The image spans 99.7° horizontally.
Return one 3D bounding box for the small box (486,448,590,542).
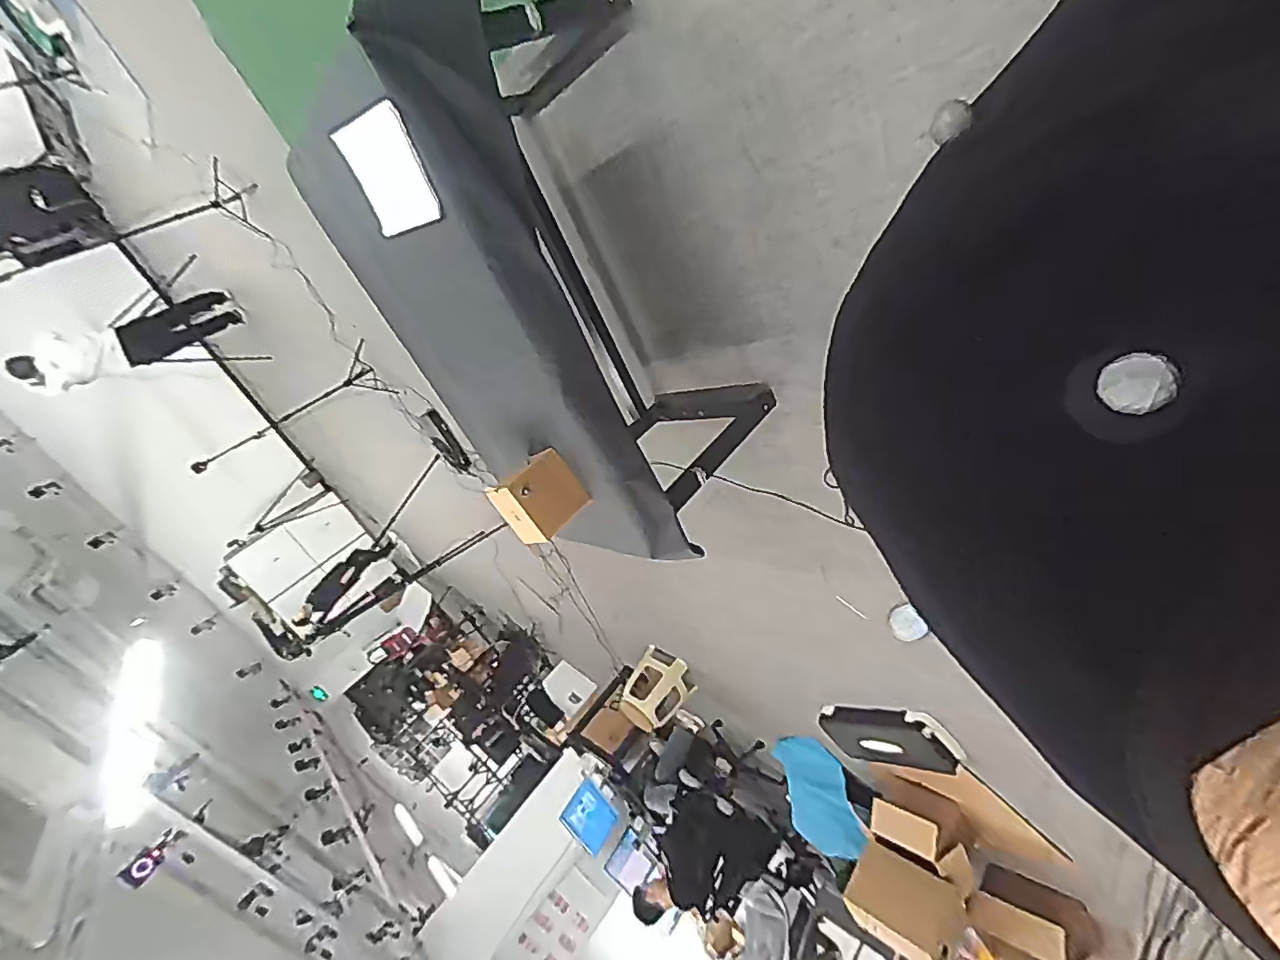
[{"bbox_3d":[-0.262,0.042,1.413,0.179,0.176,0.168,55,149,-14],"label":"small box"}]
